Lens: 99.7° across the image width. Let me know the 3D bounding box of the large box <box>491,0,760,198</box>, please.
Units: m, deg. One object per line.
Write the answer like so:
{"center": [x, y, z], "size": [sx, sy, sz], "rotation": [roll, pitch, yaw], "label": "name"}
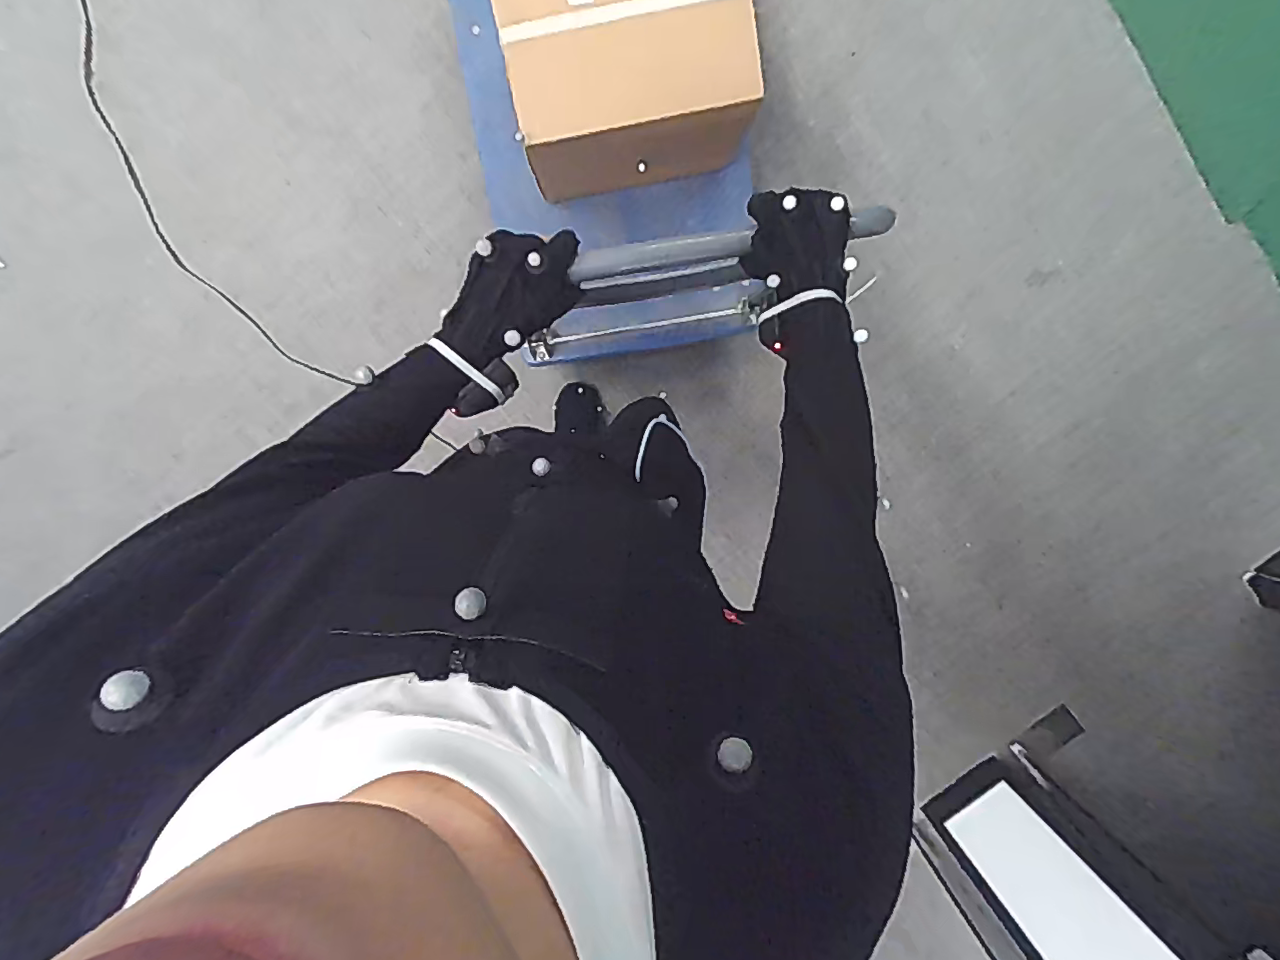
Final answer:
{"center": [-0.031, -0.766, 1.000], "size": [0.408, 0.320, 0.320], "rotation": [-12, 101, 0], "label": "large box"}
